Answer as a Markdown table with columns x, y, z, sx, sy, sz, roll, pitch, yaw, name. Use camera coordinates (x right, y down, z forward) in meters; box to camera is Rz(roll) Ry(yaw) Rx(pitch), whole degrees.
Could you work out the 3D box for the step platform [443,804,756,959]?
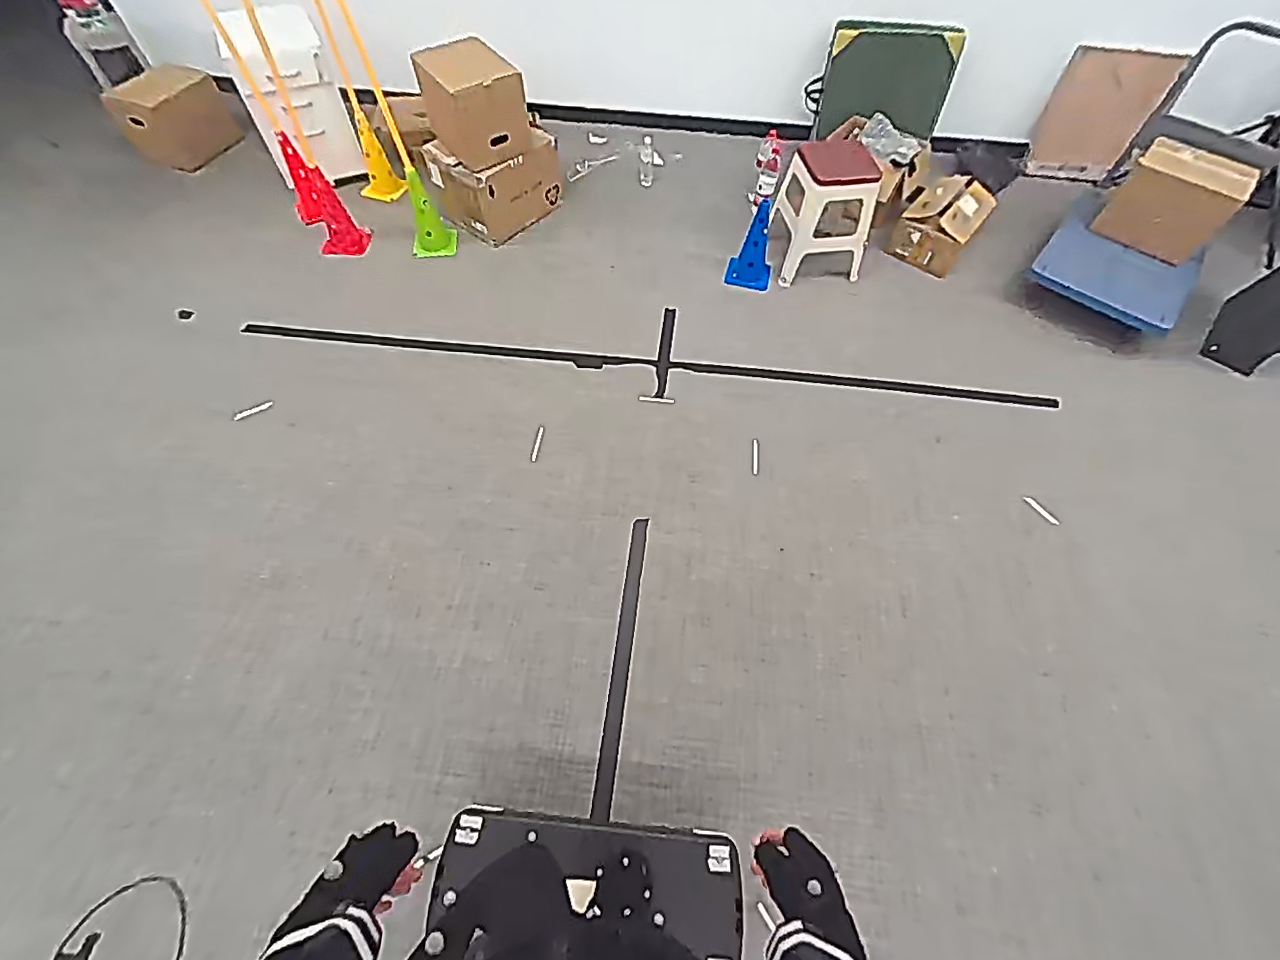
| x | y | z | sx | sy | sz | roll | pitch | yaw | name |
| --- | --- | --- | --- | --- | --- | --- | --- | --- | --- |
| -0.083 | 0.936 | 1.232 | 0.684 | 0.204 | 0.286 | 6 | 58 | 0 | step platform |
